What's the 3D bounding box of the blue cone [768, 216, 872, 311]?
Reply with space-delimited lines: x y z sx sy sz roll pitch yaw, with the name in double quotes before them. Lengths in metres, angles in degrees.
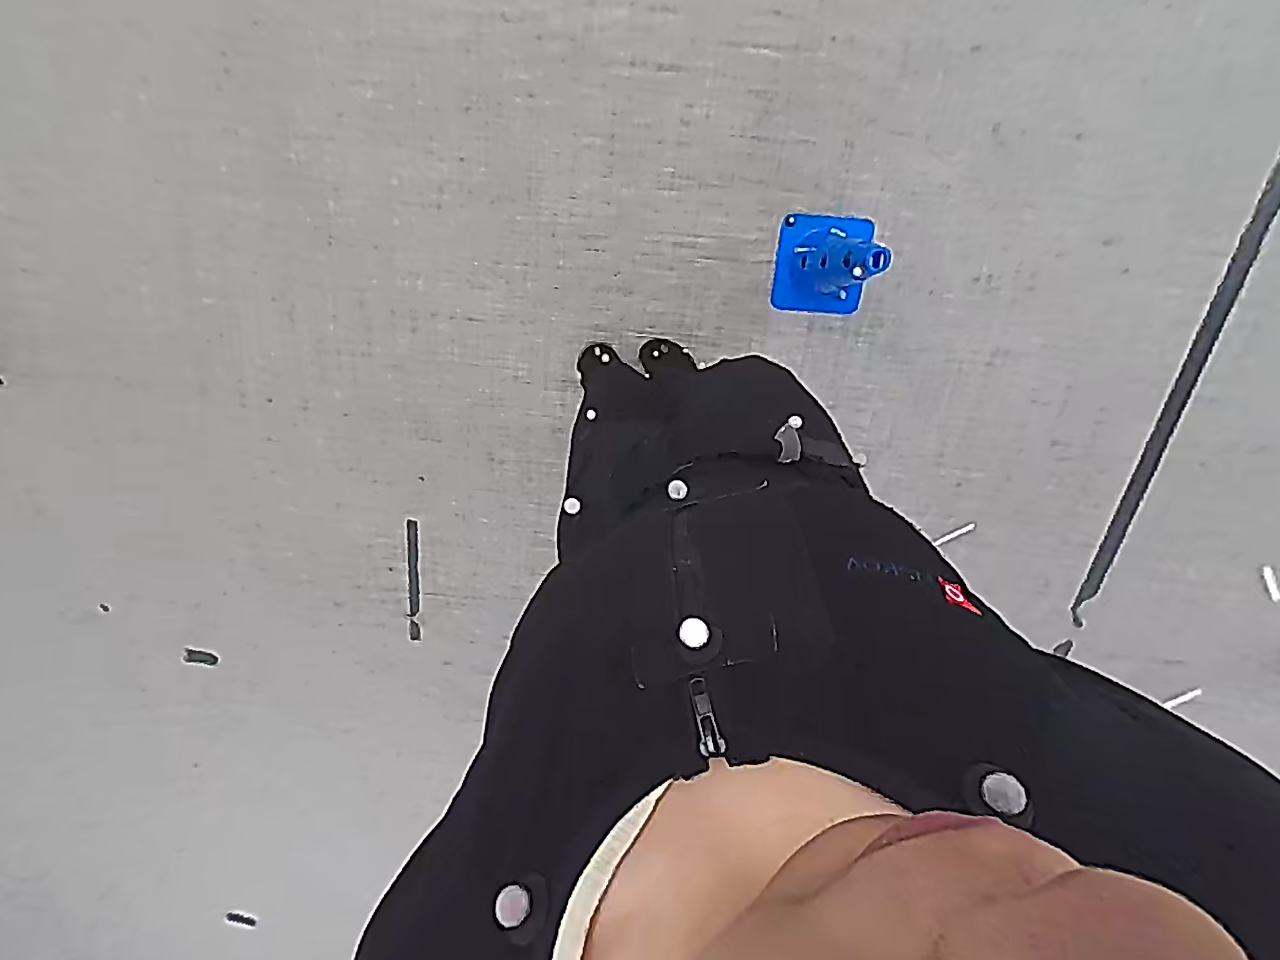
"blue cone" 0.376 -0.418 1.036 0.192 0.380 0.193 6 110 2
